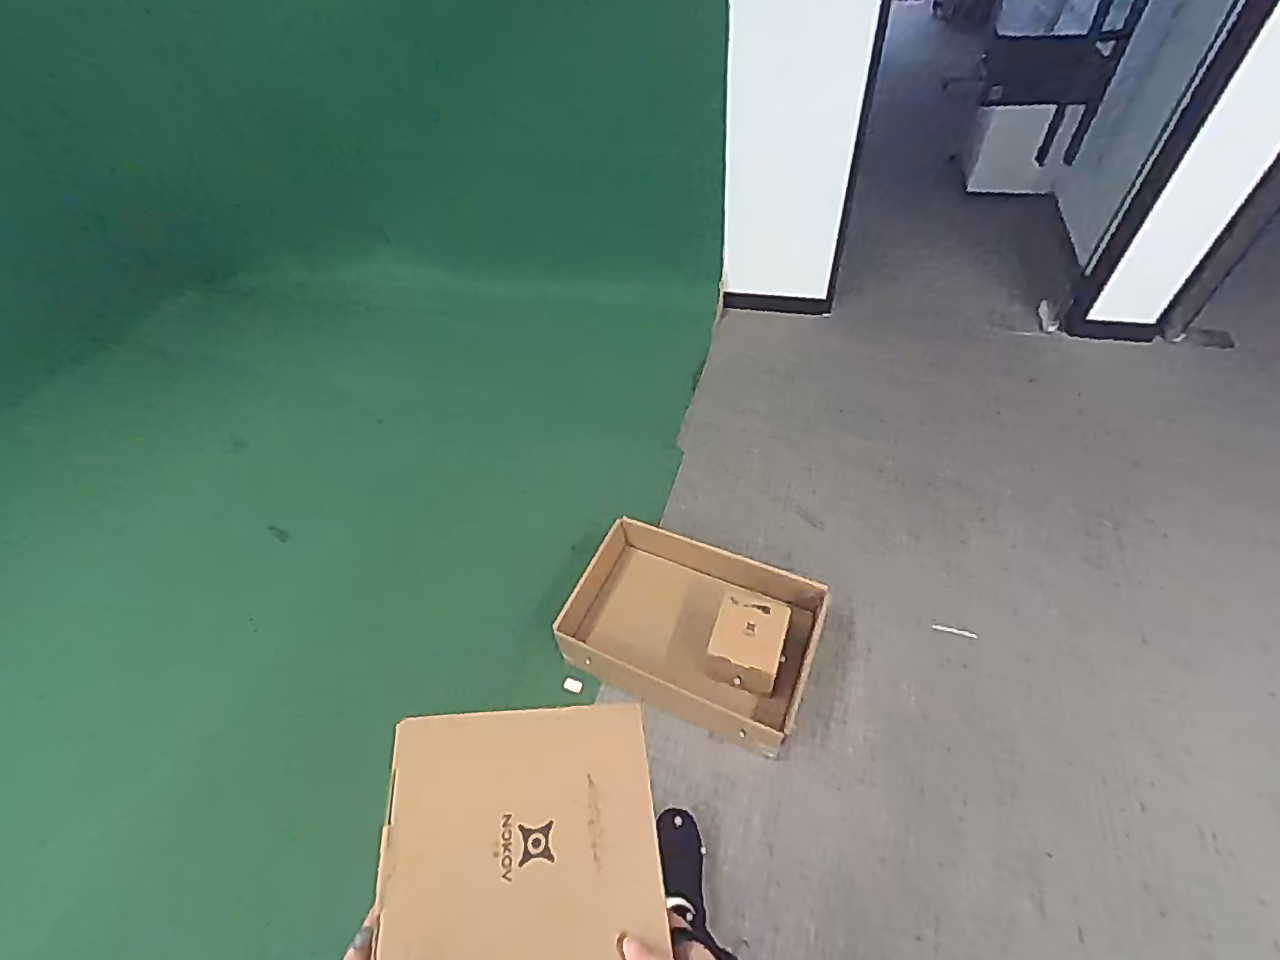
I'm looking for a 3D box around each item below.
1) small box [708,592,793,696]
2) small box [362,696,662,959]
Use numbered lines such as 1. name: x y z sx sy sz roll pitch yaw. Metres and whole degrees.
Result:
1. small box: 0.276 0.414 1.351 0.168 0.176 0.179 13 54 19
2. small box: -0.101 0.276 0.414 0.179 0.176 0.168 5 54 -19
